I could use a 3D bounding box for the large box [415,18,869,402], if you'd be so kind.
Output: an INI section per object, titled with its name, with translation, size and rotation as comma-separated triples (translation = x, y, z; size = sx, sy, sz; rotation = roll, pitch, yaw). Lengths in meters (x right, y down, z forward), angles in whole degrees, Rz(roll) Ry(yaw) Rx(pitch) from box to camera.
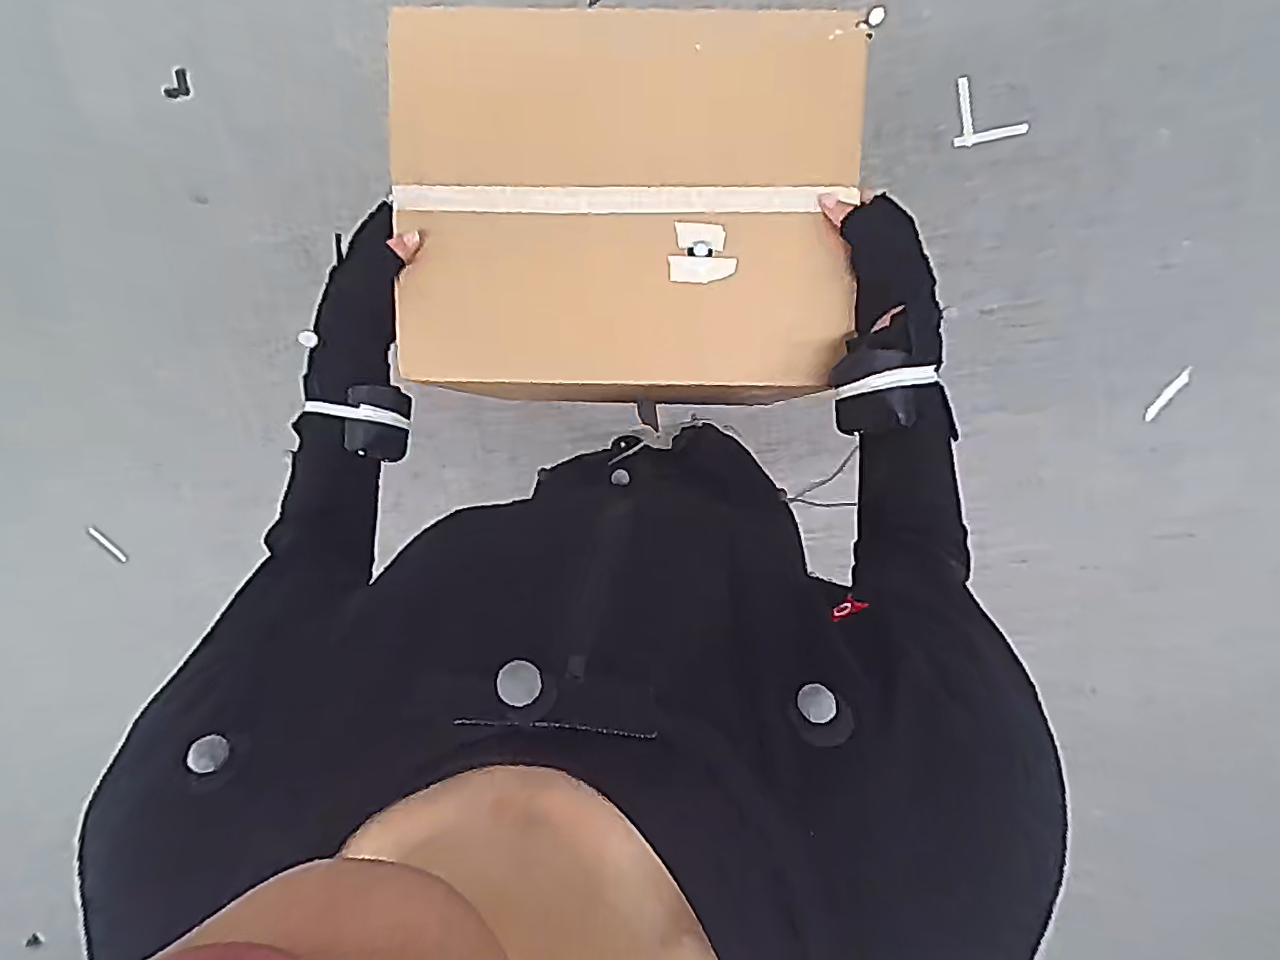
[large box]
translation = -0.003, -0.258, 0.631
size = 0.408, 0.320, 0.320
rotation = 2, 96, 0
